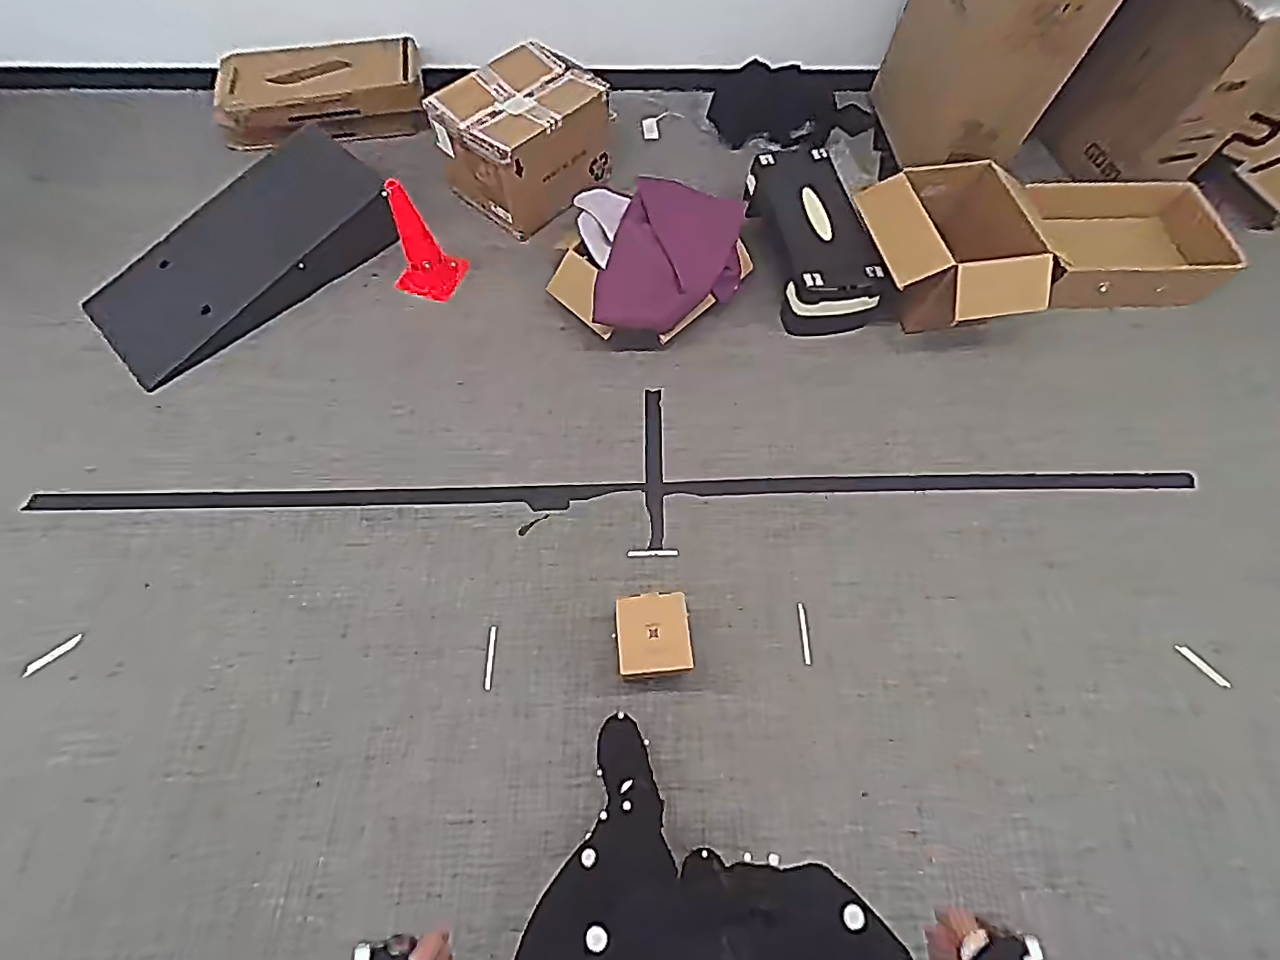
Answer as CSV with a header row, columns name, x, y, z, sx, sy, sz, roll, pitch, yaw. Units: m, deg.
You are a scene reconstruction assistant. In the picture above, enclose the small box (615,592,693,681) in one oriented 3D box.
name,x,y,z,sx,sy,sz,roll,pitch,yaw
small box,0.028,0.379,1.301,0.168,0.176,0.179,-5,67,-2
